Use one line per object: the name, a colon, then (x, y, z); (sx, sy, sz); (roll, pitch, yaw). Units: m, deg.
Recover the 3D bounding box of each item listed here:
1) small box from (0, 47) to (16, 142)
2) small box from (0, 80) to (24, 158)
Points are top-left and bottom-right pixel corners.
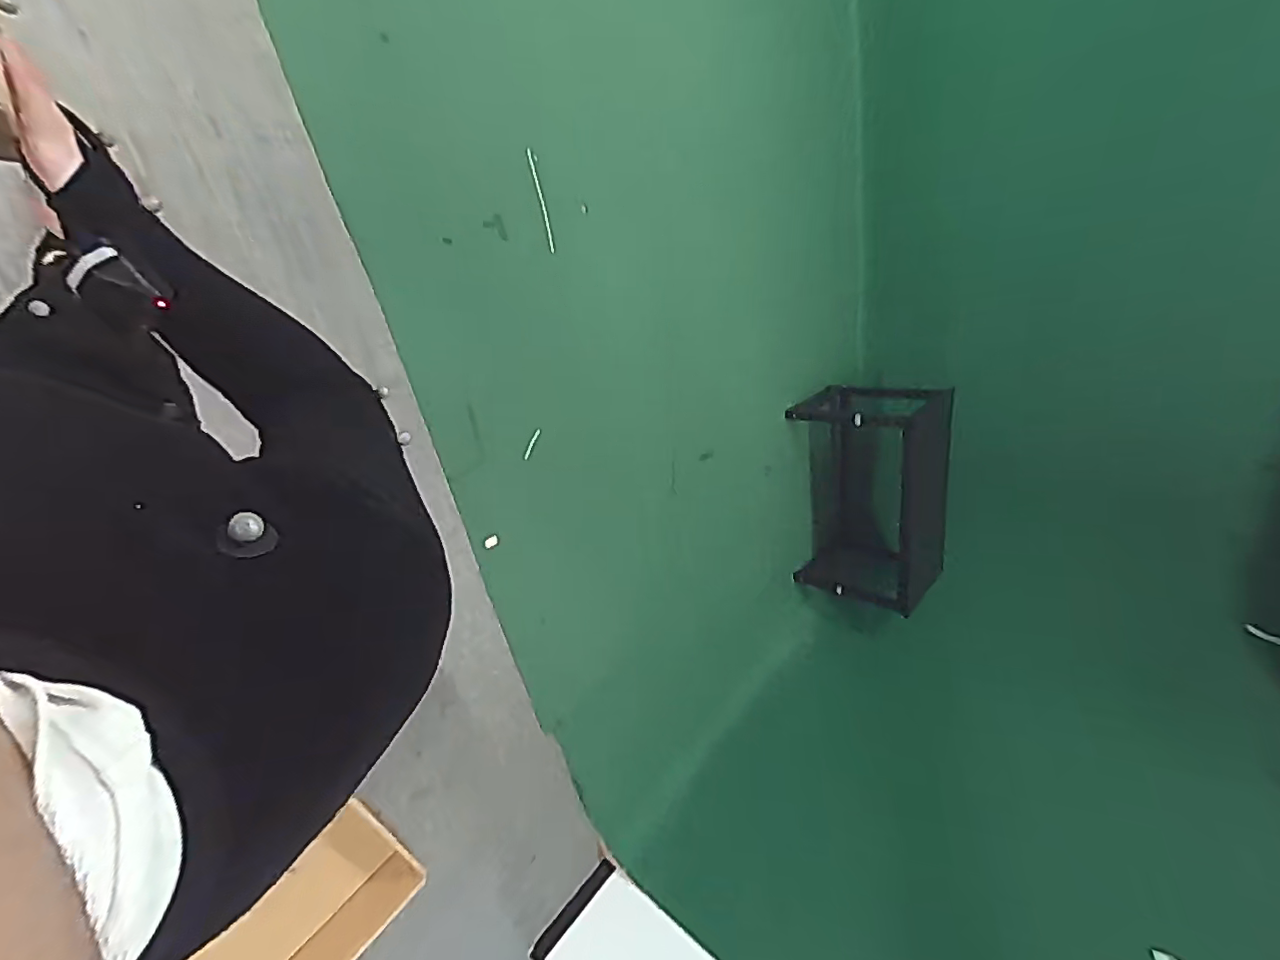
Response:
small box: (-0.507, -0.324, 0.314); (0.168, 0.176, 0.179); (-13, 112, -45)
small box: (-0.626, -0.369, 0.420); (0.168, 0.176, 0.179); (-17, 116, -43)
